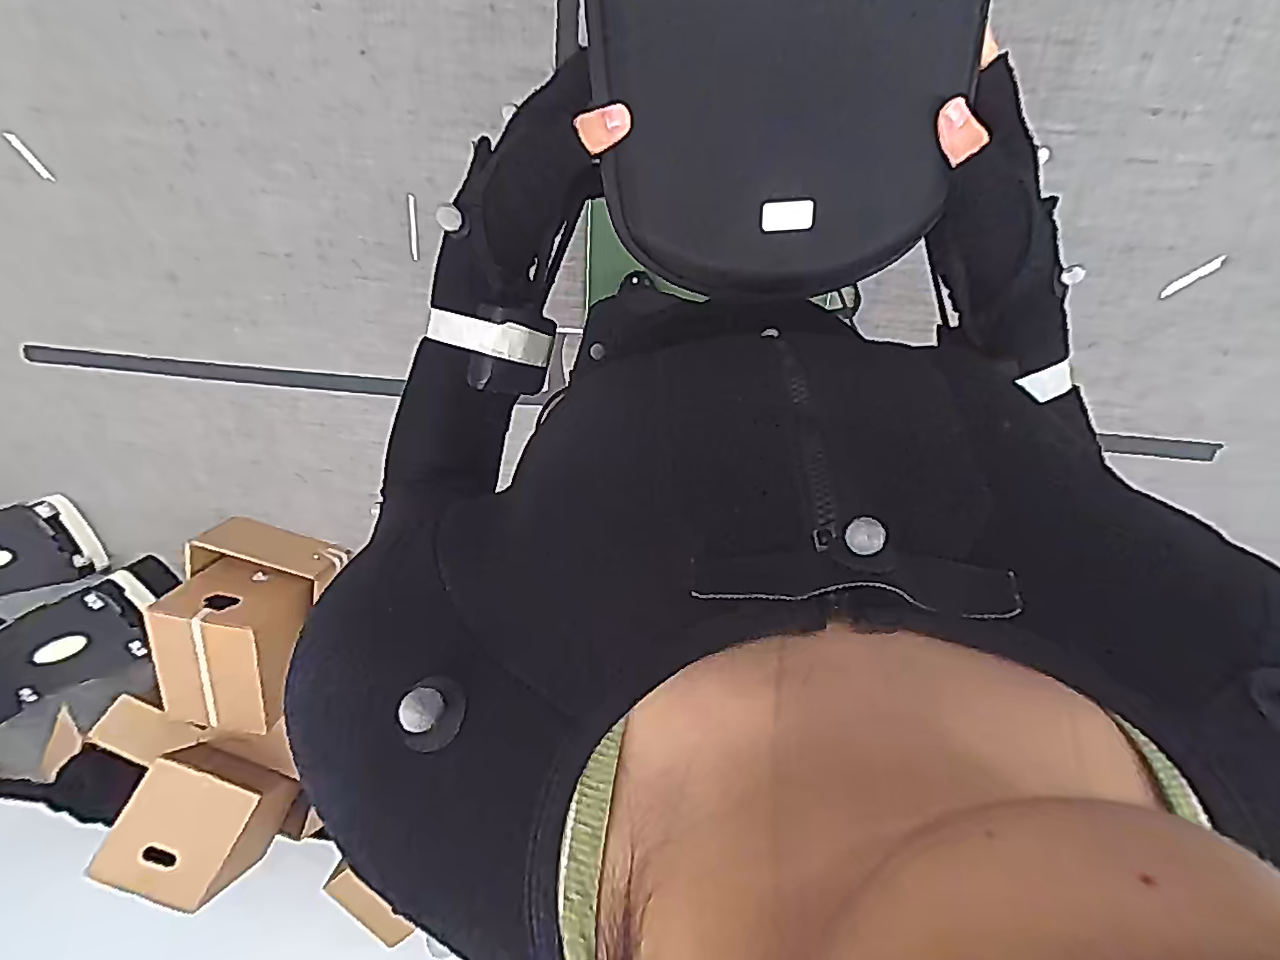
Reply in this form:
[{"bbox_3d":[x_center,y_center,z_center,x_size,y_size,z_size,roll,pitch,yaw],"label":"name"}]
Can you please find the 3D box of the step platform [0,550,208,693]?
[{"bbox_3d":[-1.883,0.494,1.868,0.684,0.204,0.286,-22,109,13],"label":"step platform"}]
